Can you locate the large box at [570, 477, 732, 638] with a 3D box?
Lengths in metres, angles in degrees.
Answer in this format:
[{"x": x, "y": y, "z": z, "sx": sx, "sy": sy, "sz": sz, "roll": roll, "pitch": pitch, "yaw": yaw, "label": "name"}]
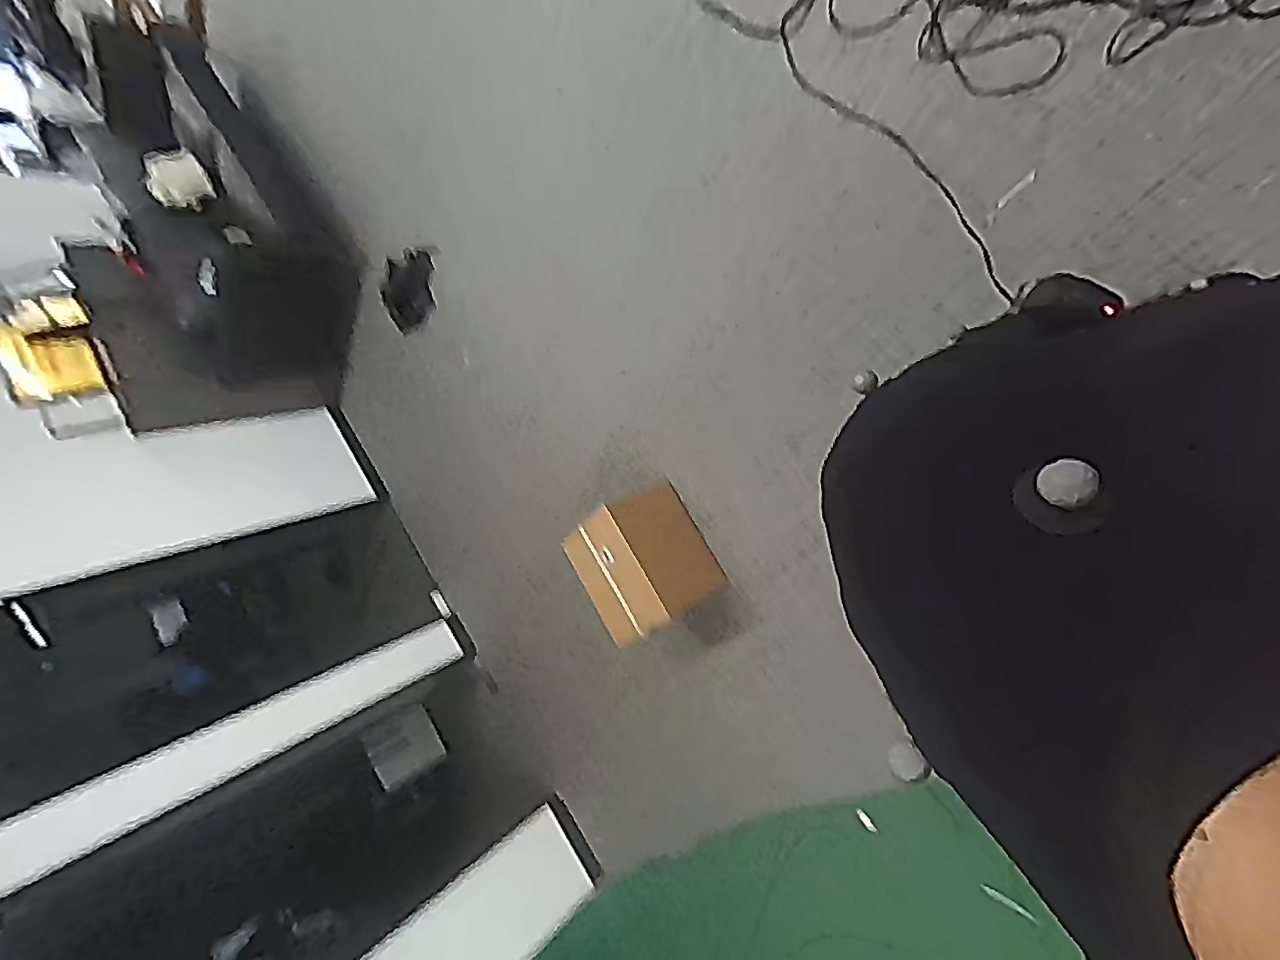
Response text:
[{"x": 0.033, "y": 0.259, "z": 1.839, "sx": 0.320, "sy": 0.320, "sz": 0.408, "roll": -42, "pitch": 73, "yaw": 44, "label": "large box"}]
